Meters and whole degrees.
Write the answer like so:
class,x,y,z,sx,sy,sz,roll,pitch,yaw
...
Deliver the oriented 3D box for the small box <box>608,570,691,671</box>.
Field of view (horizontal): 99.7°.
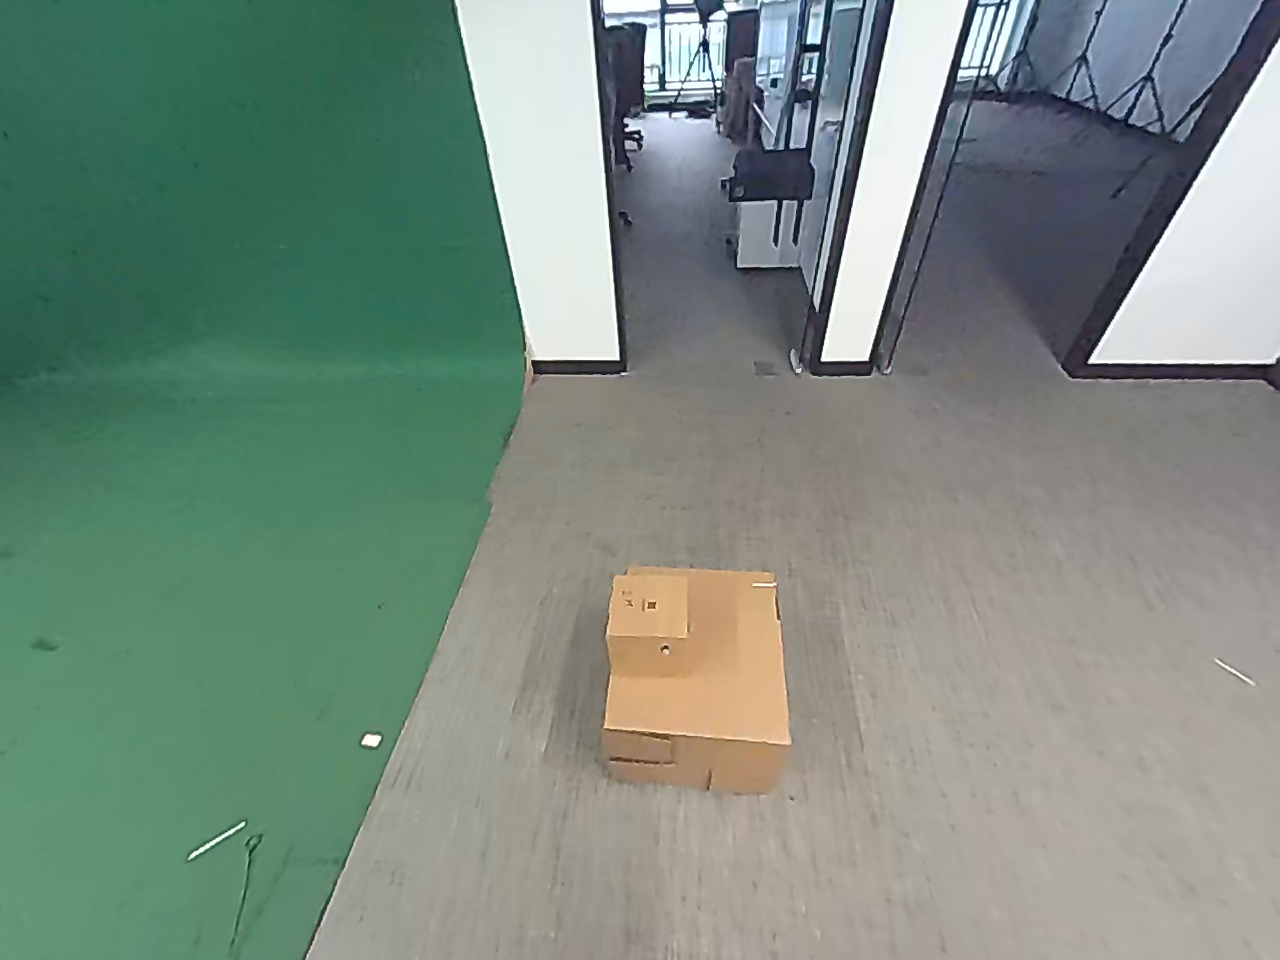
class,x,y,z,sx,sy,sz,roll,pitch,yaw
small box,0.029,0.330,1.260,0.179,0.176,0.168,0,42,6
